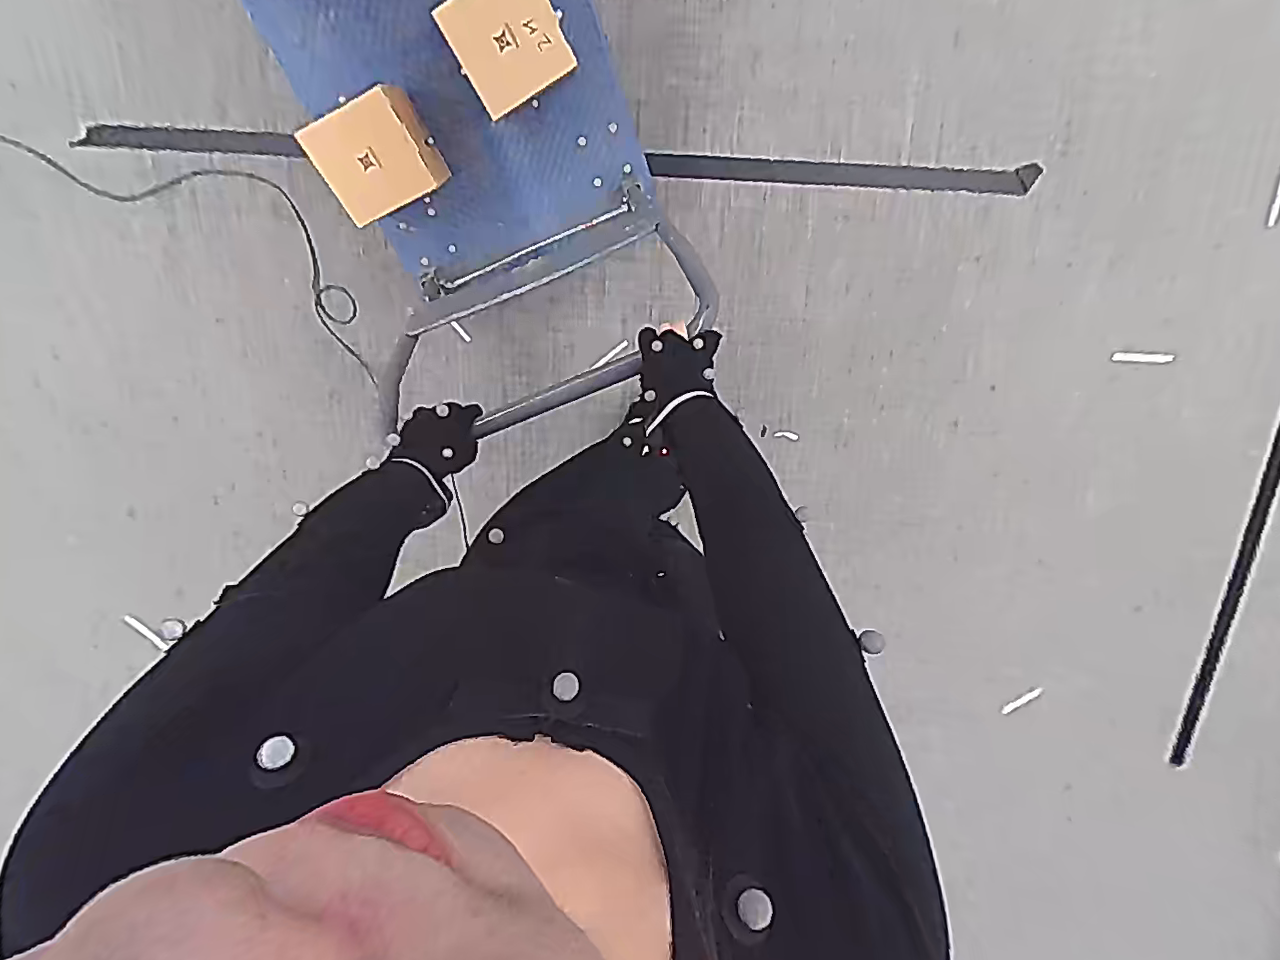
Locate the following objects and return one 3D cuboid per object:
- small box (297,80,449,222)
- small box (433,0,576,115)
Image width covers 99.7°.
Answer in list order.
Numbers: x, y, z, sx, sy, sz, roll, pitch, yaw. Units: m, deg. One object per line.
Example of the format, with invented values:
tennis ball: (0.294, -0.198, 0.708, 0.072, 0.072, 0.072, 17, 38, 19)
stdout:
small box: (-0.485, -0.613, 1.014, 0.179, 0.176, 0.168, -24, 125, 7)
small box: (-0.224, -0.770, 0.943, 0.179, 0.176, 0.168, -26, 125, 10)
